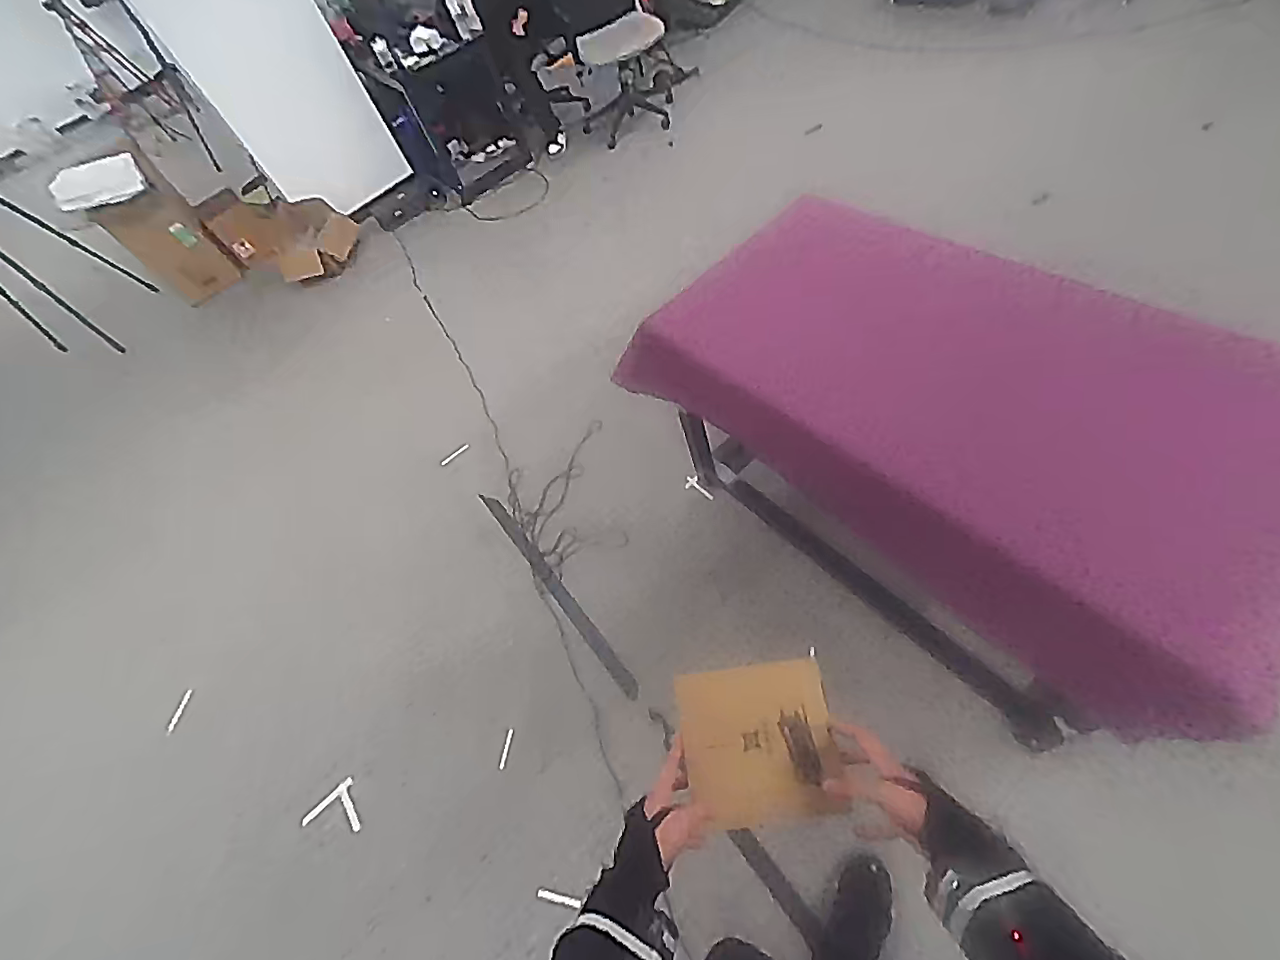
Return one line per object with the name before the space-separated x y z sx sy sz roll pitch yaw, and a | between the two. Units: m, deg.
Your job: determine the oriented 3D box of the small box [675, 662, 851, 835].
small box | 0.143 0.332 0.694 0.179 0.176 0.168 -9 67 2
